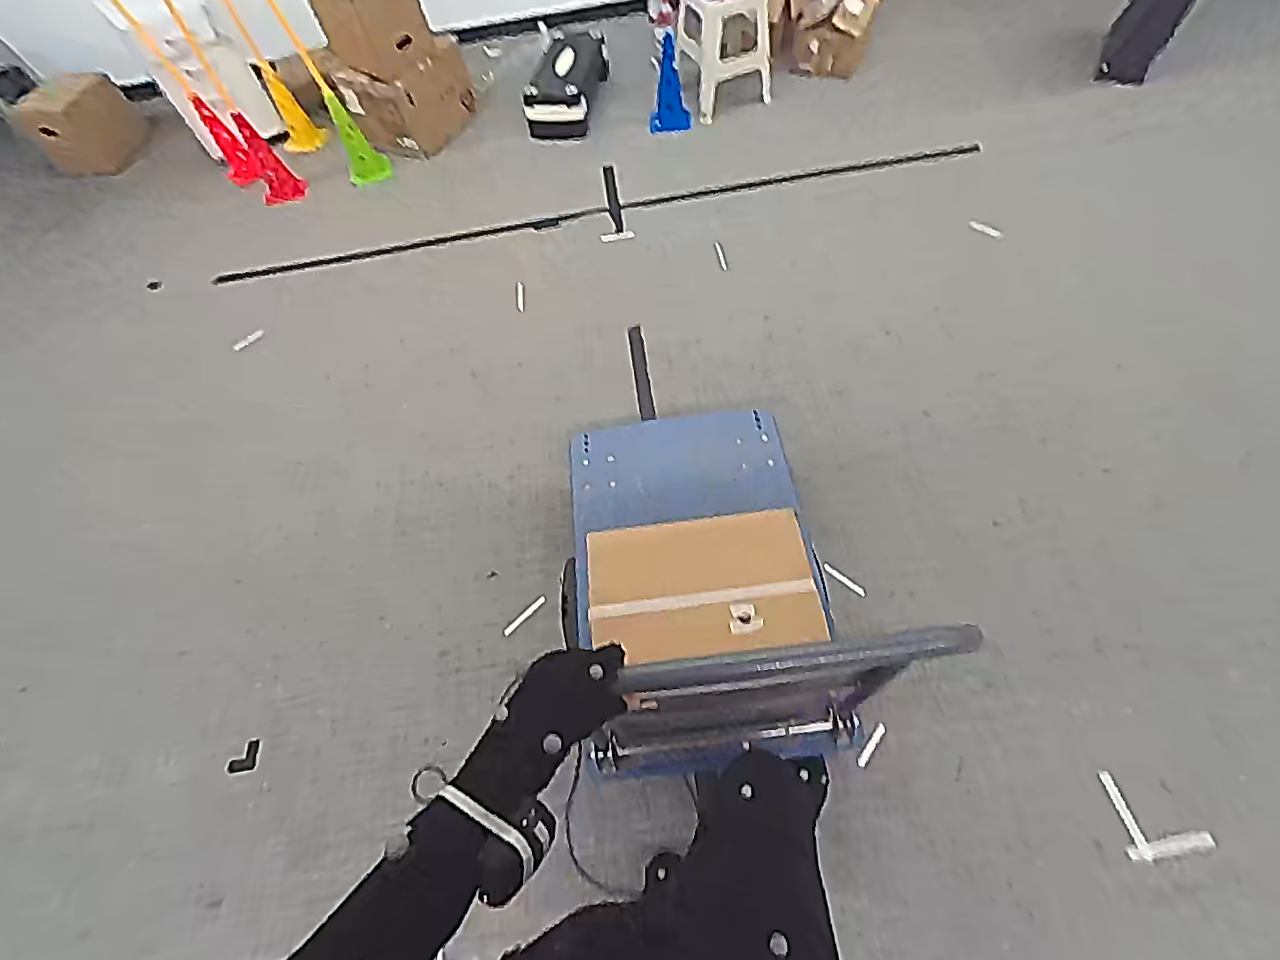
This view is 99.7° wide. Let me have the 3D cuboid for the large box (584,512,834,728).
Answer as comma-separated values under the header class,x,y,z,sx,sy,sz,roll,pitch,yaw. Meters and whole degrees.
class,x,y,z,sx,sy,sz,roll,pitch,yaw
large box,0.115,0.292,1.085,0.408,0.320,0.320,-7,60,0
